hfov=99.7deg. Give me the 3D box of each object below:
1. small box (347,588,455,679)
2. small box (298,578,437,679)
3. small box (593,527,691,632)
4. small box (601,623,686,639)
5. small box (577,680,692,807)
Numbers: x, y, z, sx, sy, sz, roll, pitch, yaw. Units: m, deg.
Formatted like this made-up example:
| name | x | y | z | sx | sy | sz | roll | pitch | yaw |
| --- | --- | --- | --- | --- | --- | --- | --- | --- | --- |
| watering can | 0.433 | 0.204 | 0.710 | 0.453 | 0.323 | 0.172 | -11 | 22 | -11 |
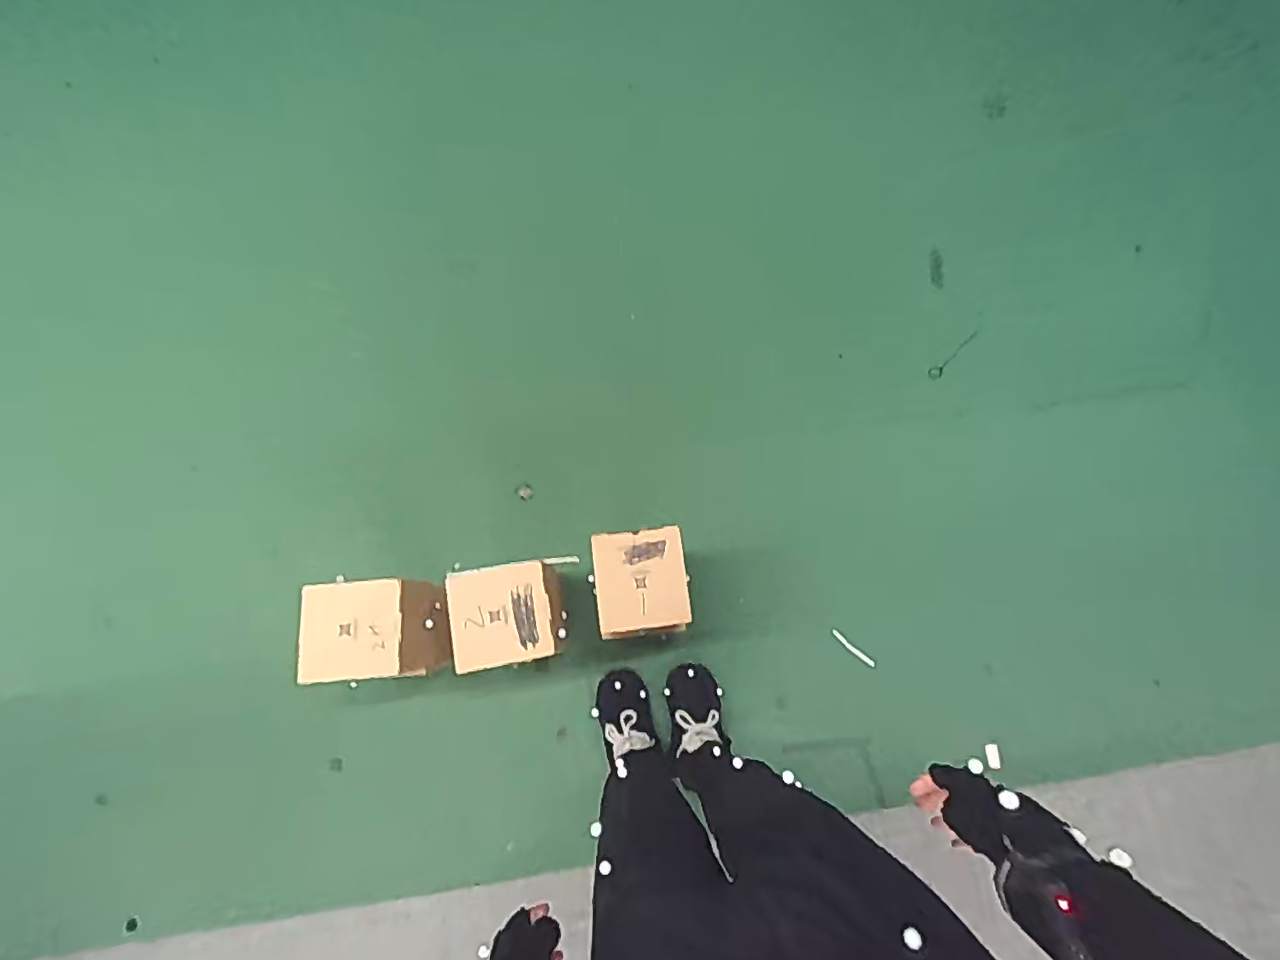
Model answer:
| name | x | y | z | sx | sy | sz | roll | pitch | yaw |
| --- | --- | --- | --- | --- | --- | --- | --- | --- | --- |
| small box | -0.512 | 0.328 | 1.179 | 0.168 | 0.176 | 0.179 | -3 | 76 | -1 |
| small box | -0.503 | 0.278 | 1.021 | 0.179 | 0.176 | 0.168 | -4 | 76 | -1 |
| small box | -0.001 | 0.197 | 1.050 | 0.168 | 0.176 | 0.179 | -6 | 76 | -3 |
| small box | 0.000 | 0.259 | 1.203 | 0.179 | 0.176 | 0.168 | -5 | 76 | -2 |
| small box | -0.015 | 0.547 | 1.146 | 0.179 | 0.176 | 0.168 | 19 | 87 | 24 |
